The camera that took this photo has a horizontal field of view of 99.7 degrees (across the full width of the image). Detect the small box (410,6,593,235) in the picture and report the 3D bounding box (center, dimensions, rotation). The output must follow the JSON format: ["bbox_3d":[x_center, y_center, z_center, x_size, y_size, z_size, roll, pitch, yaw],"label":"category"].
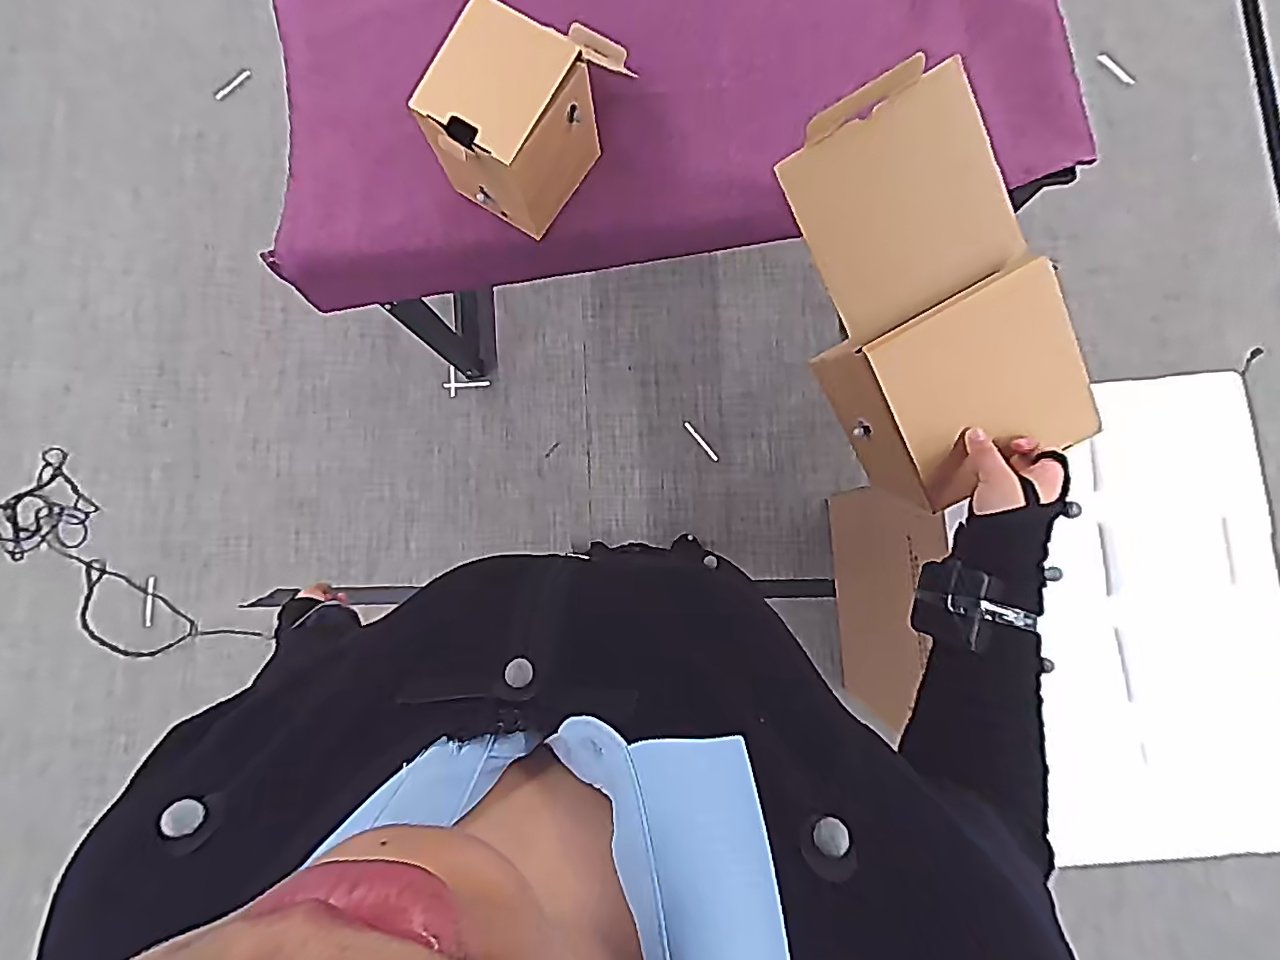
[{"bbox_3d":[-0.181,-0.498,0.772,0.168,0.176,0.179,33,85,7],"label":"small box"}]
